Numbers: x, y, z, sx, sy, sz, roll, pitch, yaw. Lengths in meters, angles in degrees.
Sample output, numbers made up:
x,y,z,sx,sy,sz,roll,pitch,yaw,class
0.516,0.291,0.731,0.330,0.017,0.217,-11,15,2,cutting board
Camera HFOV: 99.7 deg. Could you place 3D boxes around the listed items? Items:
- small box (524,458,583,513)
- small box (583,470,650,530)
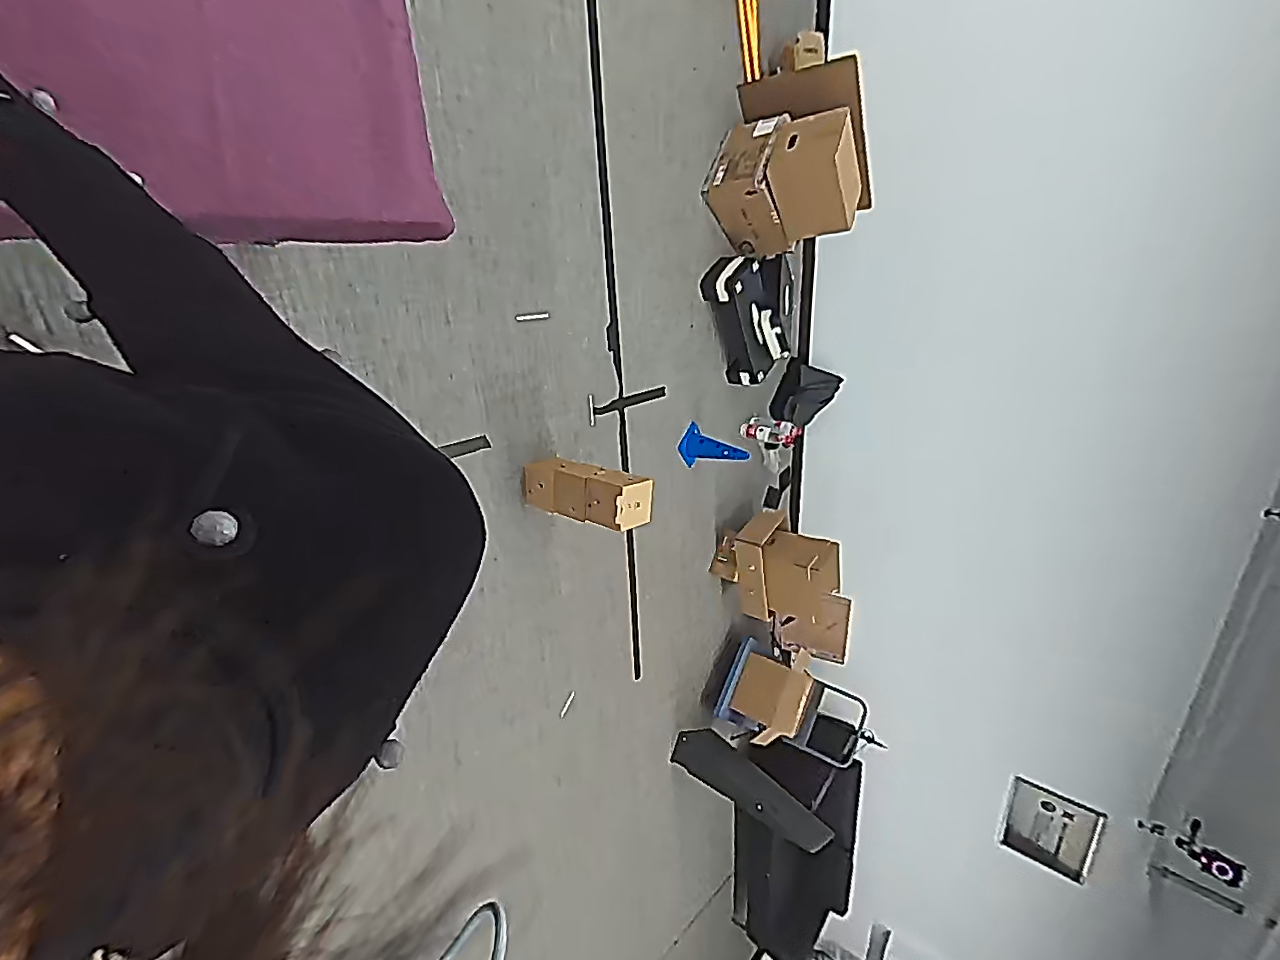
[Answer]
x,y,z,sx,sy,sz,roll,pitch,yaw,class
-0.350,0.016,2.161,0.179,0.176,0.168,-21,117,-48,small box
-0.086,0.066,1.969,0.179,0.176,0.168,-13,112,-50,small box
